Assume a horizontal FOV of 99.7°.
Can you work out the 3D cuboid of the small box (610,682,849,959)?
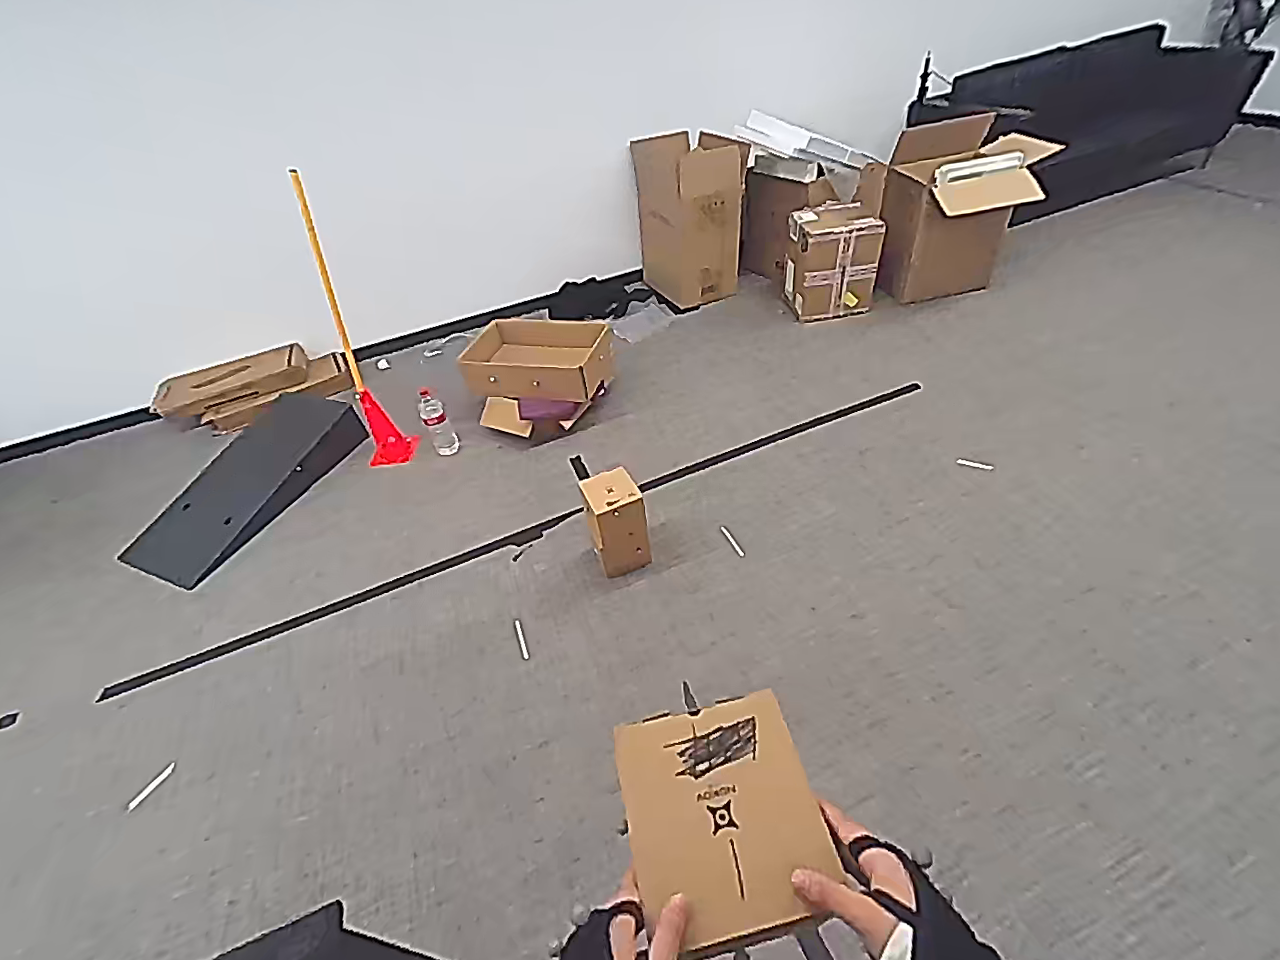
[{"bbox_3d":[0.073,0.333,0.528,0.168,0.176,0.179,-14,45,-6],"label":"small box"}]

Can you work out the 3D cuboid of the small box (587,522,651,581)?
[{"bbox_3d":[-0.070,0.225,1.912,0.179,0.176,0.168,-21,42,-12],"label":"small box"}]

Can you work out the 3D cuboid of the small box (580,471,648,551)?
[{"bbox_3d":[-0.087,0.105,1.802,0.168,0.176,0.179,-21,42,-14],"label":"small box"}]
